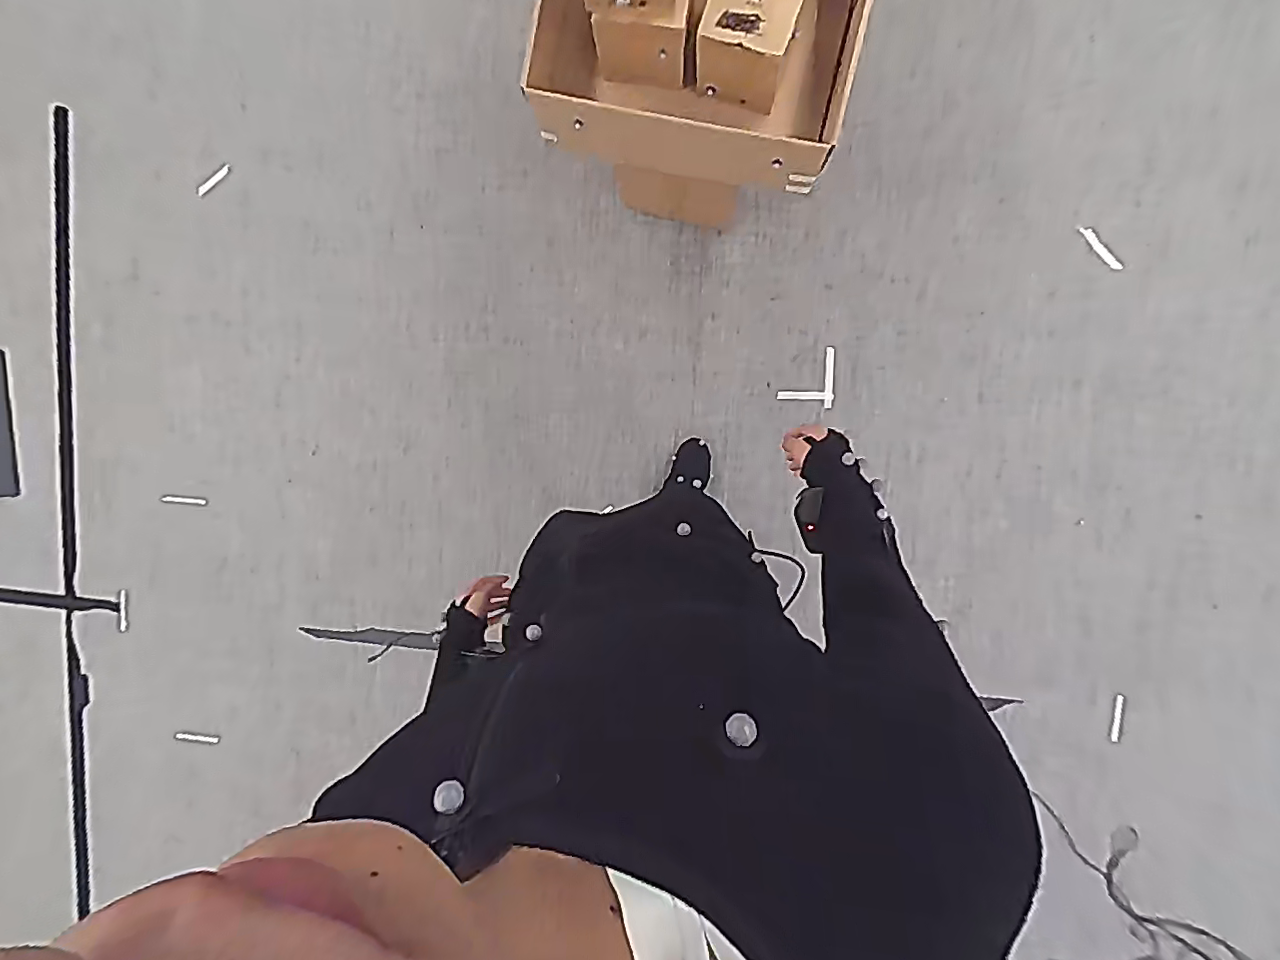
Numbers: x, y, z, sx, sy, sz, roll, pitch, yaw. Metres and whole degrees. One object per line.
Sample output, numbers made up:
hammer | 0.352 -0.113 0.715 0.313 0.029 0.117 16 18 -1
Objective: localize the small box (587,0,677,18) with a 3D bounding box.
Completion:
small box | -0.015 -0.926 0.898 0.168 0.176 0.179 4 94 4
